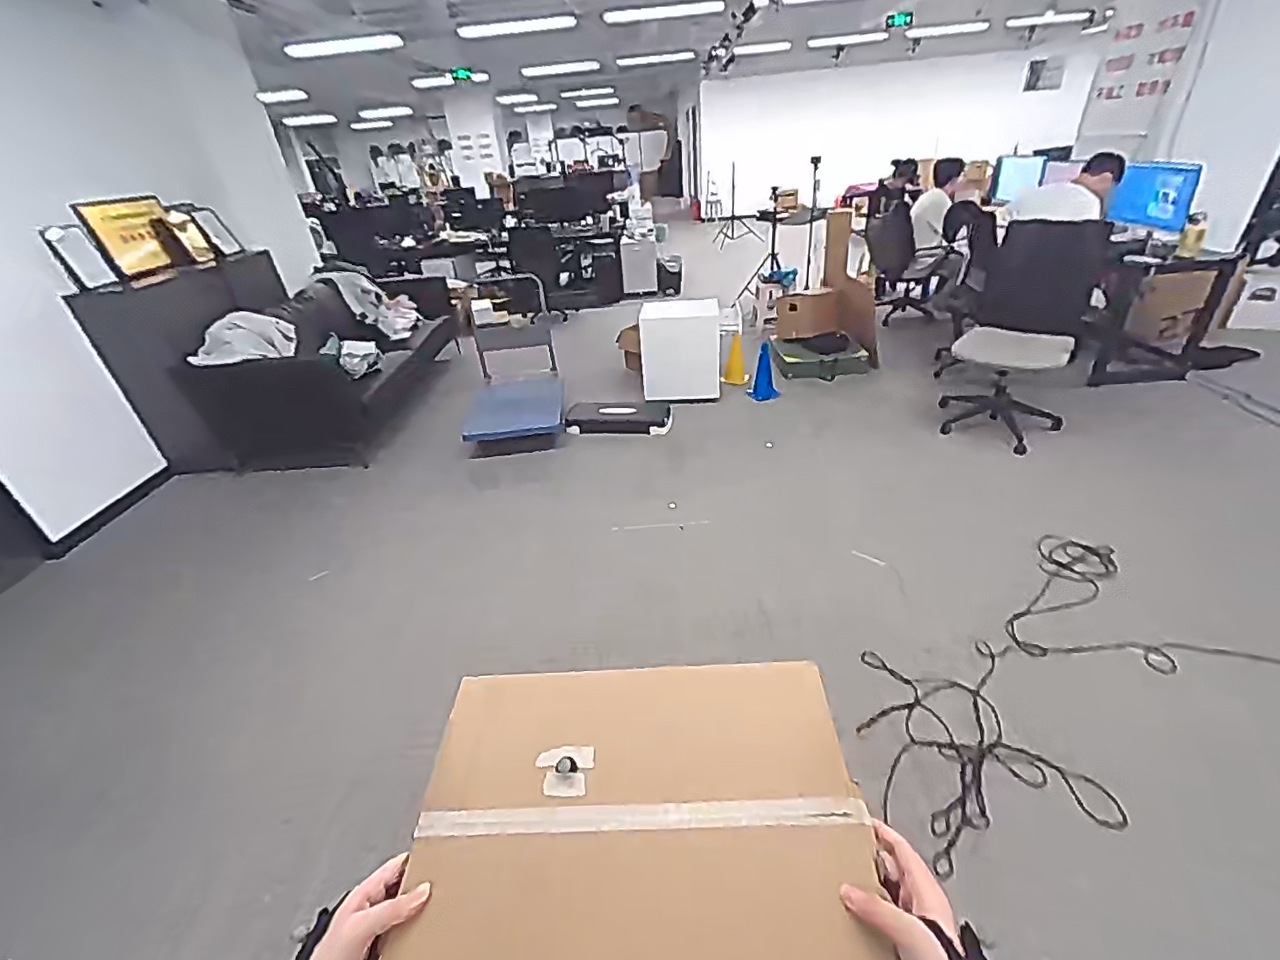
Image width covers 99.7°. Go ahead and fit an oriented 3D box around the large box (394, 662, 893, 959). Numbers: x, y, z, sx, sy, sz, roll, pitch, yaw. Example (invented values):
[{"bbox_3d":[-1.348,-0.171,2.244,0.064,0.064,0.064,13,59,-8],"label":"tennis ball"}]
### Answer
[{"bbox_3d":[0.015,0.435,0.593,0.408,0.320,0.320,-6,36,5],"label":"large box"}]
